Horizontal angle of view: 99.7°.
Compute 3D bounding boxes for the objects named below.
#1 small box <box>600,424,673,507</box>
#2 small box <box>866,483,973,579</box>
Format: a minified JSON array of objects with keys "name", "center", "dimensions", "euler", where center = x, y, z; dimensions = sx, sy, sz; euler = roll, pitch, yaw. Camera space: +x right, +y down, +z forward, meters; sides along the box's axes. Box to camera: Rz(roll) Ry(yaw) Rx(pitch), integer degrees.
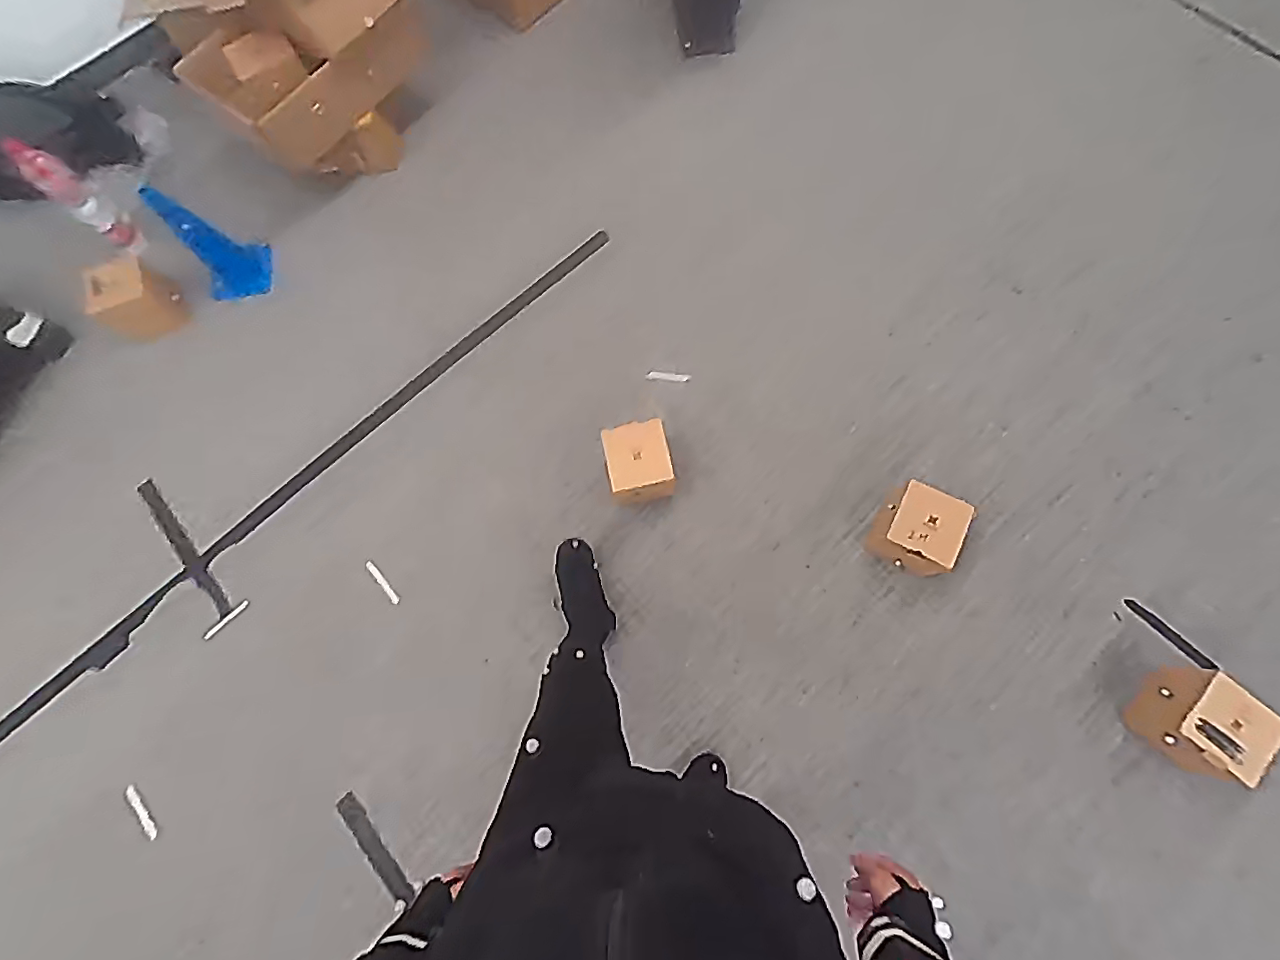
[{"name":"small box","center":[-0.004,-0.031,1.486],"dimensions":[0.168,0.176,0.179],"euler":[-13,73,0]},{"name":"small box","center":[0.714,0.138,1.401],"dimensions":[0.168,0.176,0.179],"euler":[27,77,11]}]
